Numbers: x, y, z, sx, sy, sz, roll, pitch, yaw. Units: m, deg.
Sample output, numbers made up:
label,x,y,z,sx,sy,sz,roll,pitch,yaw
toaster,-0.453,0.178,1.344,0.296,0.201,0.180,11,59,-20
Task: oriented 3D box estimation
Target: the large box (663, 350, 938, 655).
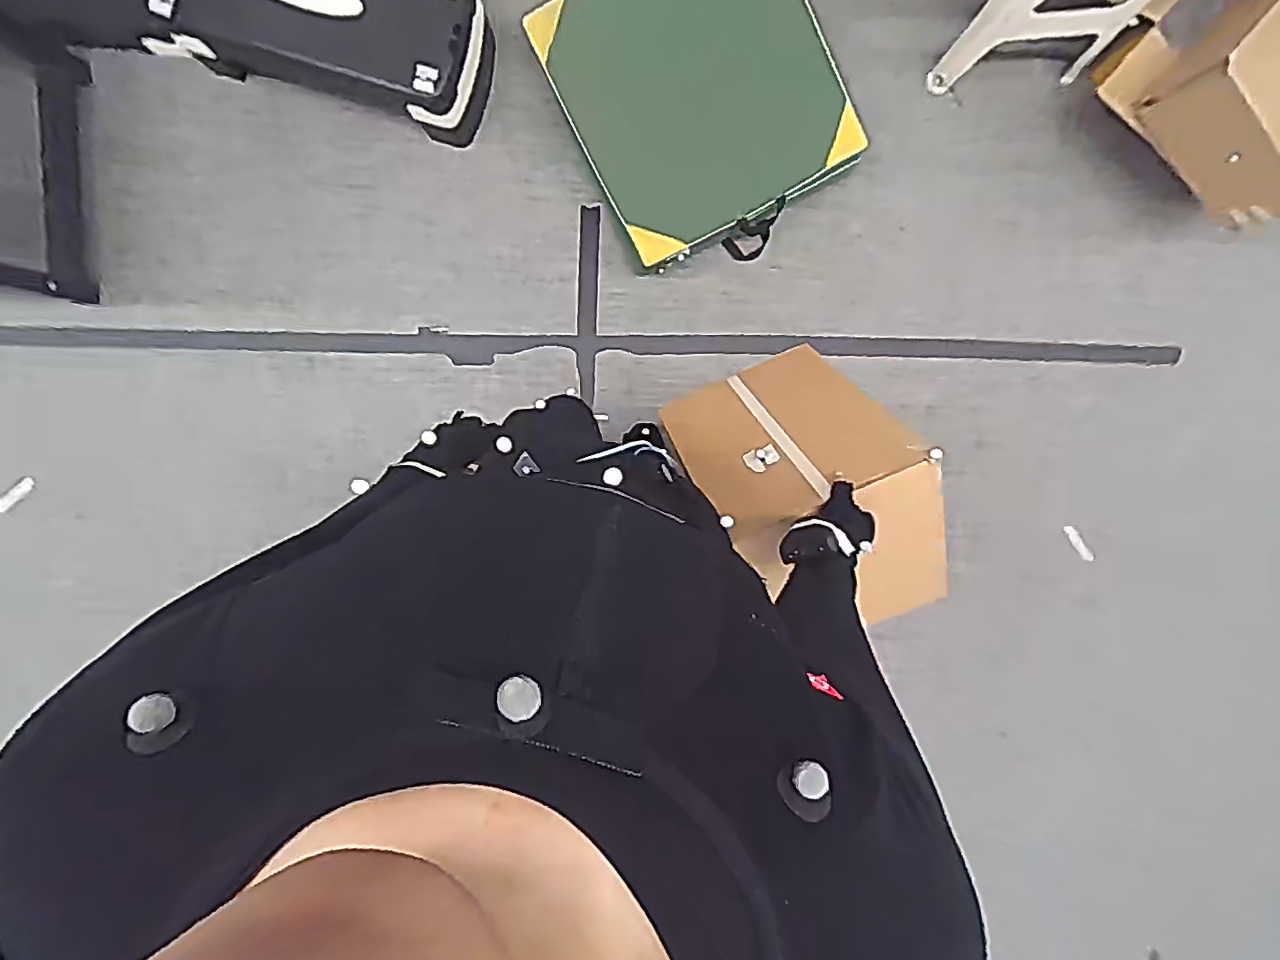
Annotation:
label,x,y,z,sx,sy,sz,roll,pitch,yaw
large box,0.275,0.028,0.985,0.320,0.408,0.320,-25,128,4
